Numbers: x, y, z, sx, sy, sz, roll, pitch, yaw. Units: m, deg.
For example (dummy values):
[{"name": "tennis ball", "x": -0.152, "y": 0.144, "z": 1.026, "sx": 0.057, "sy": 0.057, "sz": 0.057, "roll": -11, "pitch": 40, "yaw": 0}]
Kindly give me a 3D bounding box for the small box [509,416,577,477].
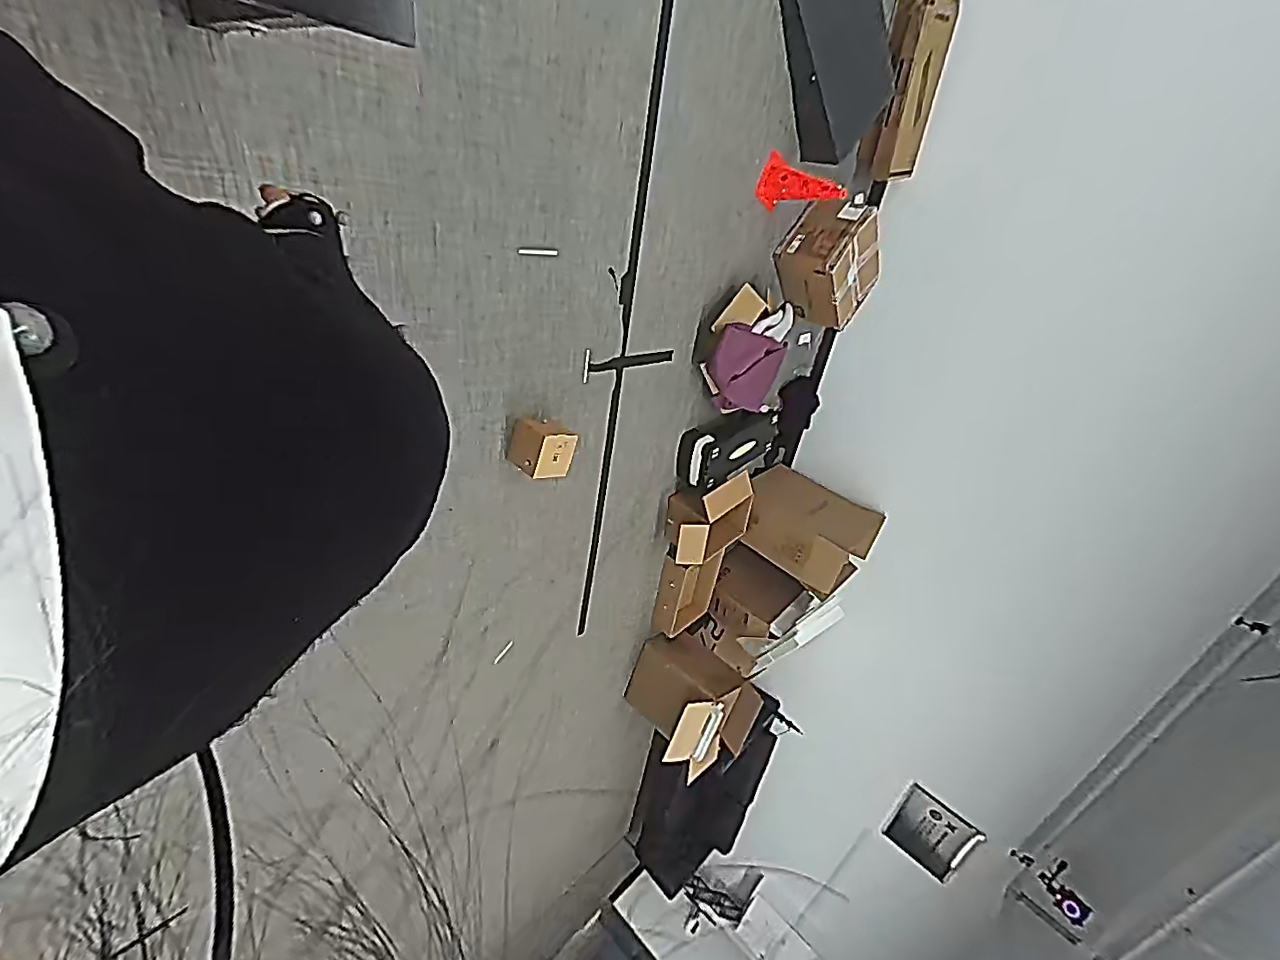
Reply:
[{"name": "small box", "x": -0.370, "y": -0.127, "z": 2.034, "sx": 0.168, "sy": 0.176, "sz": 0.179, "roll": -6, "pitch": 121, "yaw": -51}]
